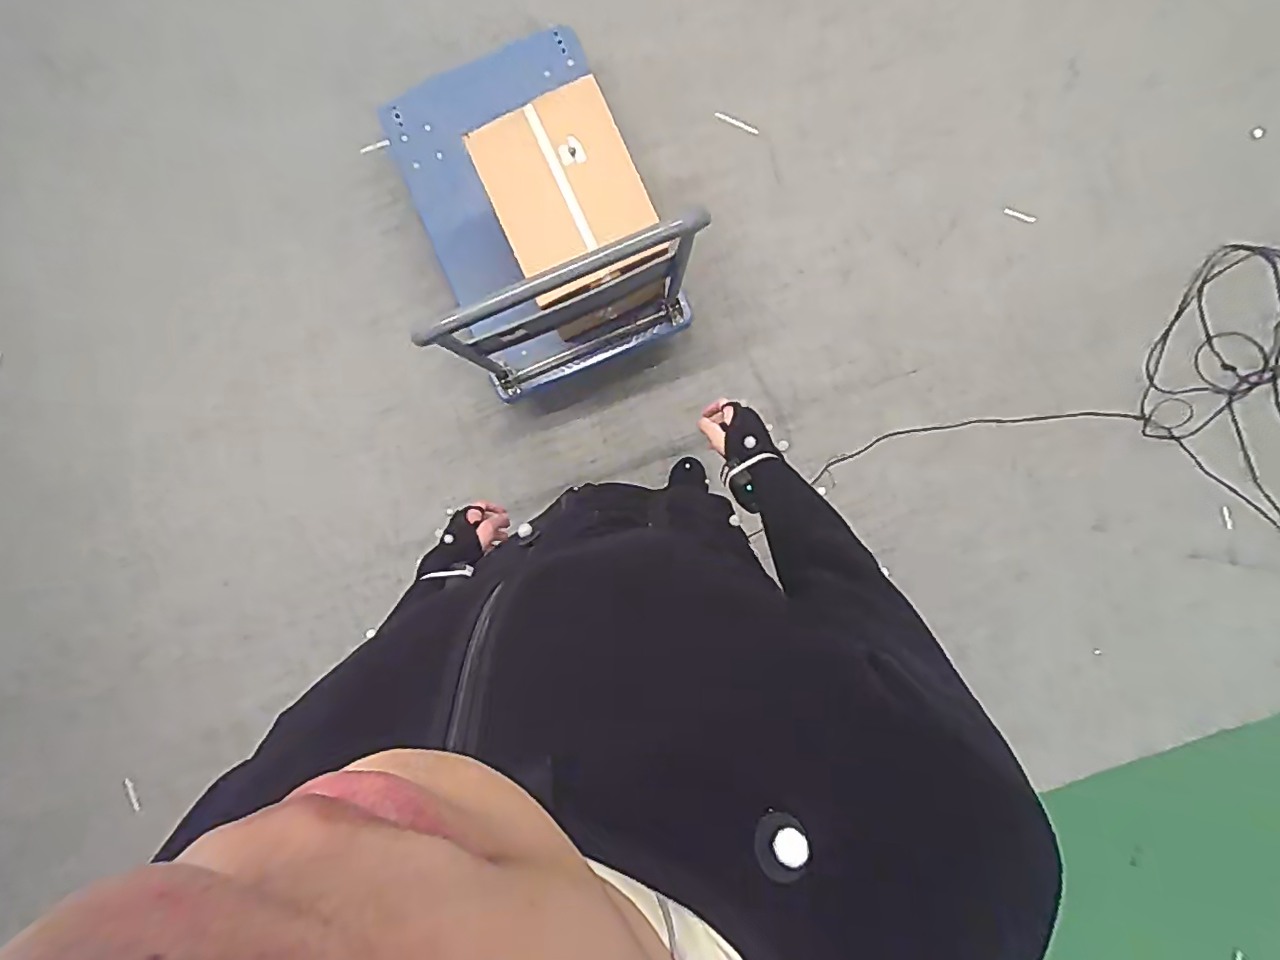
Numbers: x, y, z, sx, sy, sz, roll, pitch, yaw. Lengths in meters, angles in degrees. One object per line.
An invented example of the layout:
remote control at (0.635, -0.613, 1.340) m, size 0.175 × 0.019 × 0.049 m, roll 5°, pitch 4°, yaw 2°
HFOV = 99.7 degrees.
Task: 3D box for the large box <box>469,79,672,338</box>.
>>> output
large box at (-0.144, -0.620, 1.308) m, size 0.320 × 0.320 × 0.408 m, roll -24°, pitch 90°, yaw 1°
